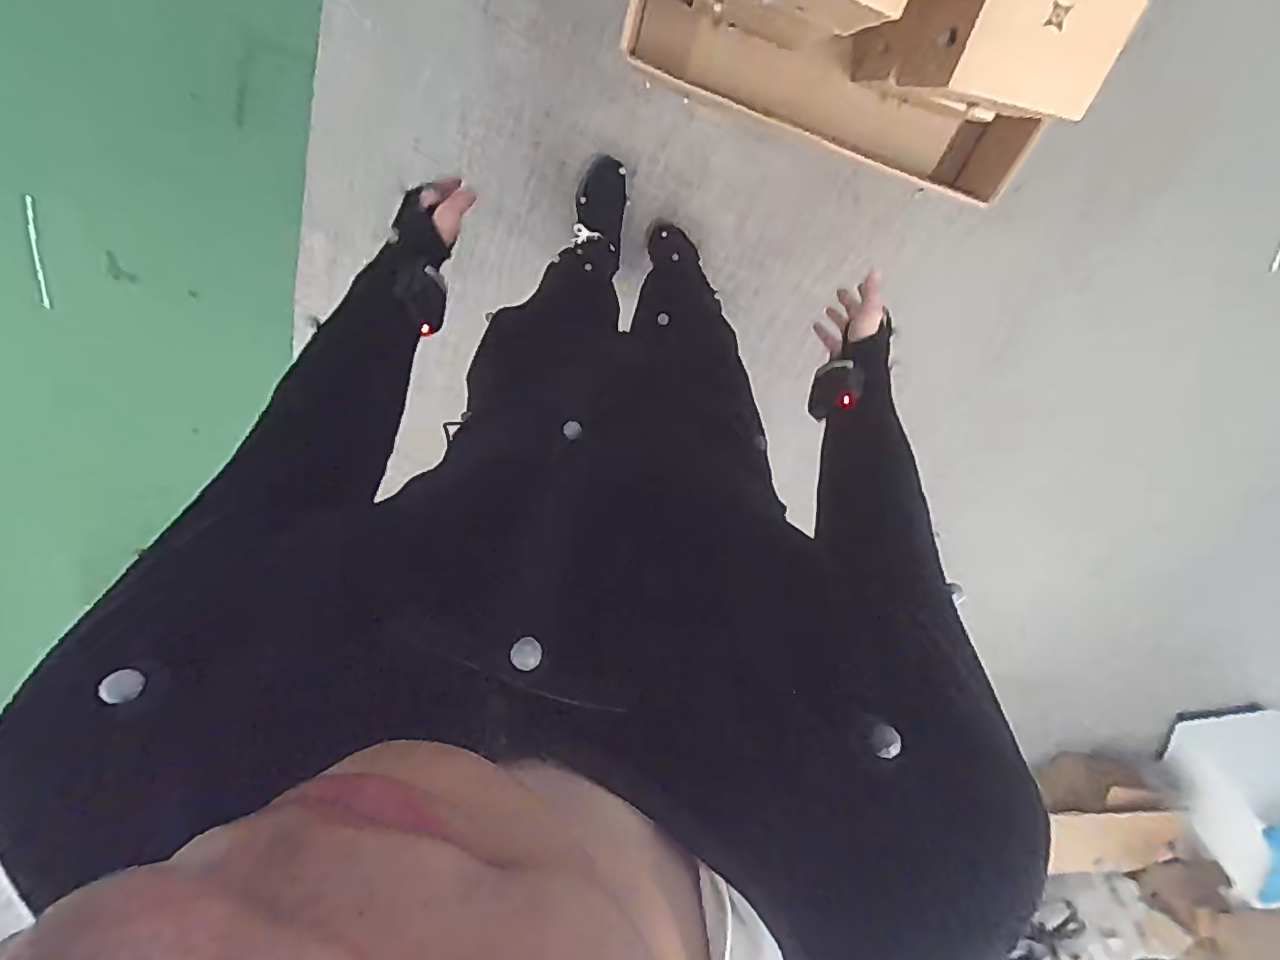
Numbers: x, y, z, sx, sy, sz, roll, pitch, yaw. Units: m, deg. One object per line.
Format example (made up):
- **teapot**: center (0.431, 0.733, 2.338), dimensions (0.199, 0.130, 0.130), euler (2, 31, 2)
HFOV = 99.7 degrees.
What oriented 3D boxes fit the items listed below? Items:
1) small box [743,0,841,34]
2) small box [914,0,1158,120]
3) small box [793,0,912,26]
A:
- **small box**: center (0.177, -0.611, 0.570), dimensions (0.168, 0.176, 0.179), euler (18, 123, -10)
- **small box**: center (0.443, -0.535, 0.614), dimensions (0.168, 0.176, 0.179), euler (10, 126, -5)
- **small box**: center (0.171, -0.512, 0.442), dimensions (0.168, 0.176, 0.179), euler (16, 124, -8)
